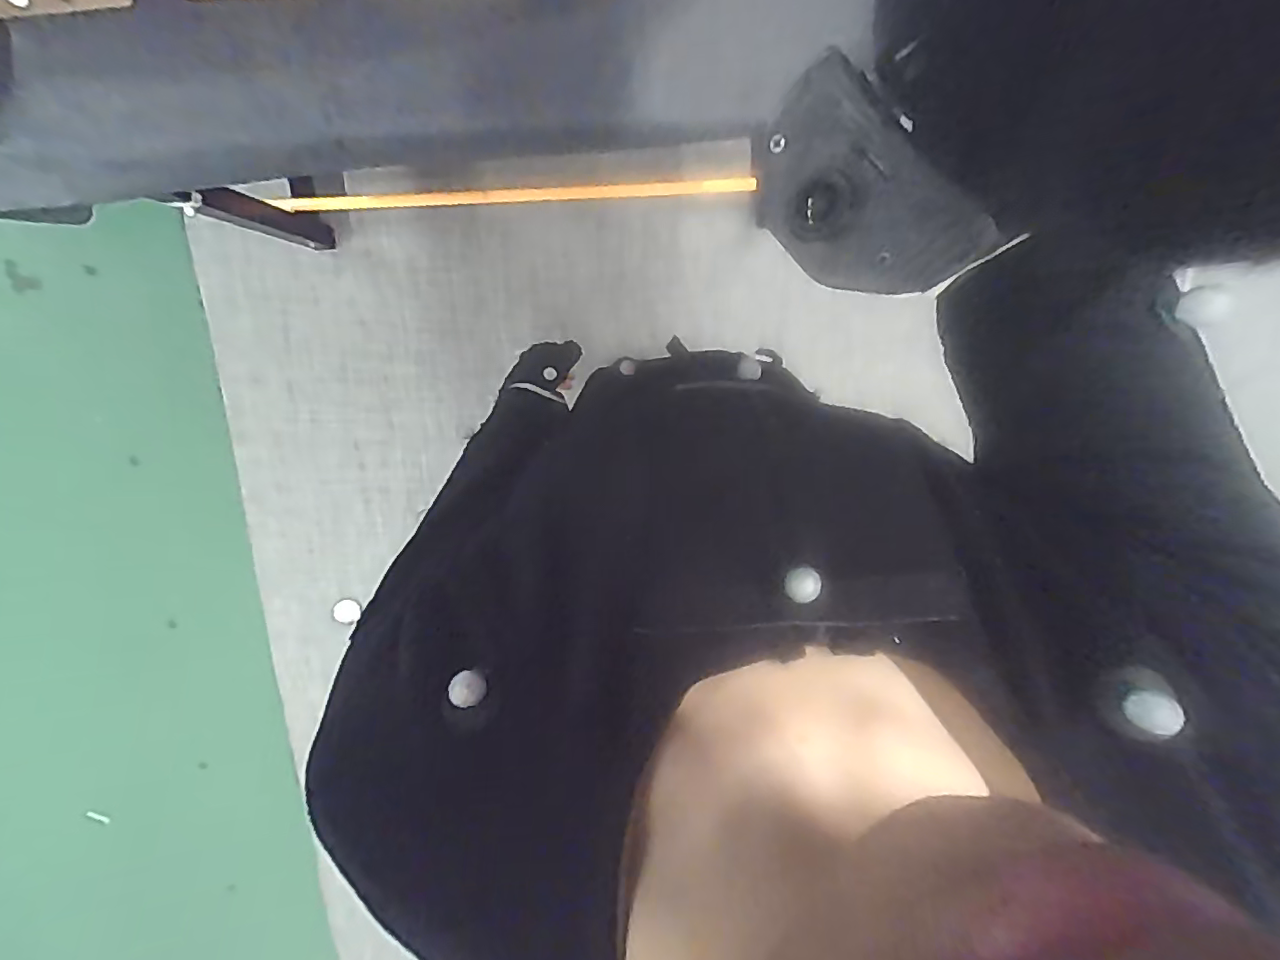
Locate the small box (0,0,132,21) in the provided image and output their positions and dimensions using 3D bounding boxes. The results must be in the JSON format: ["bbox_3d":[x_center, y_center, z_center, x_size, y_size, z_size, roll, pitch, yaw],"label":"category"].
[{"bbox_3d":[-0.667,-0.605,0.529,0.168,0.176,0.179,-4,103,2],"label":"small box"}]
